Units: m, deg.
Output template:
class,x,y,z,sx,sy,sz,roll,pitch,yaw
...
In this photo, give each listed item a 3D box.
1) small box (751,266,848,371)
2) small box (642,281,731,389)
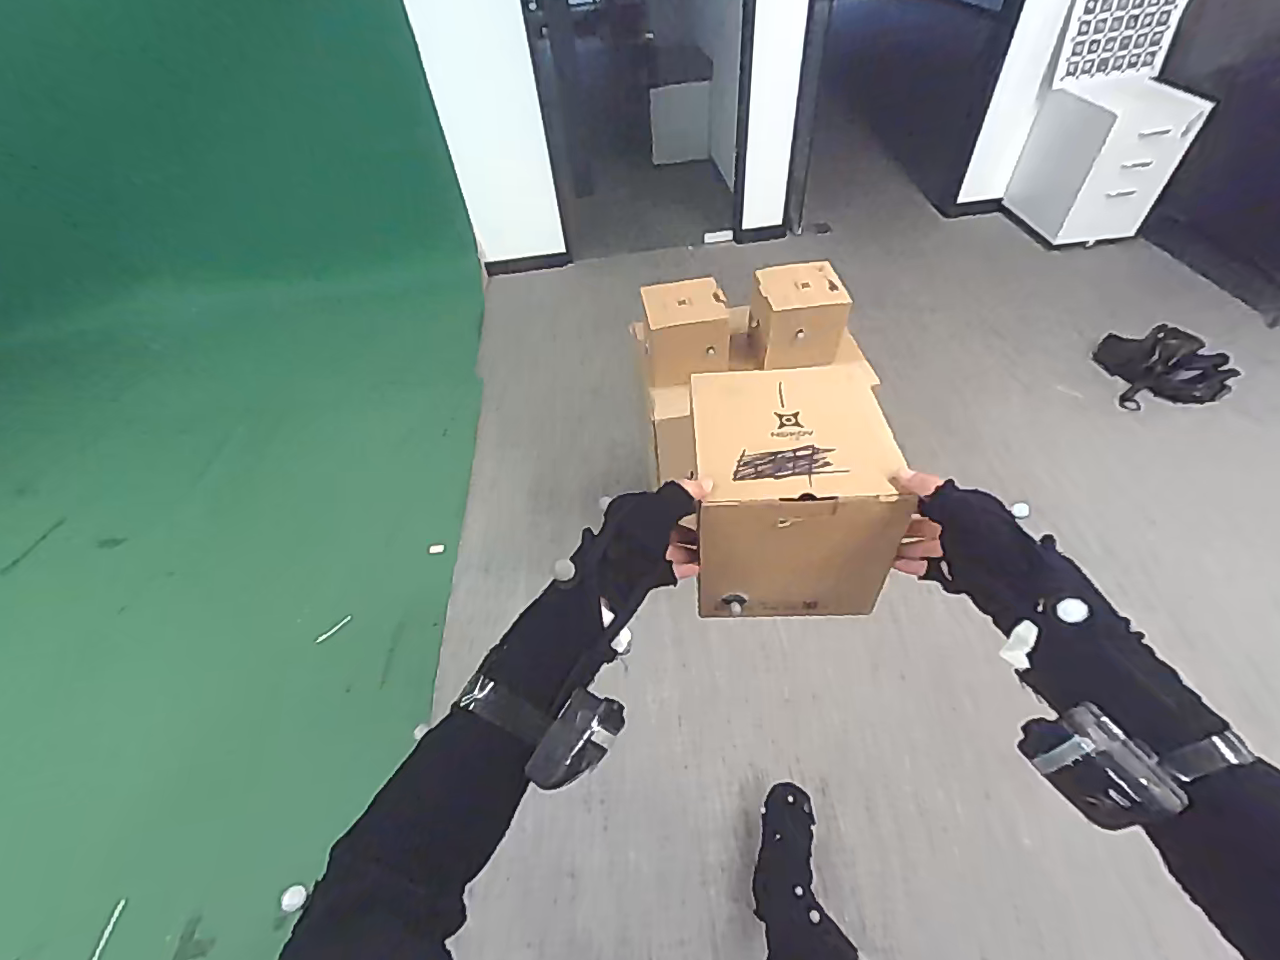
class,x,y,z,sx,sy,sz,roll,pitch,yaw
small box,0.364,-0.375,1.273,0.179,0.176,0.168,-8,53,-1
small box,0.105,-0.336,1.265,0.179,0.176,0.168,-10,51,-2
